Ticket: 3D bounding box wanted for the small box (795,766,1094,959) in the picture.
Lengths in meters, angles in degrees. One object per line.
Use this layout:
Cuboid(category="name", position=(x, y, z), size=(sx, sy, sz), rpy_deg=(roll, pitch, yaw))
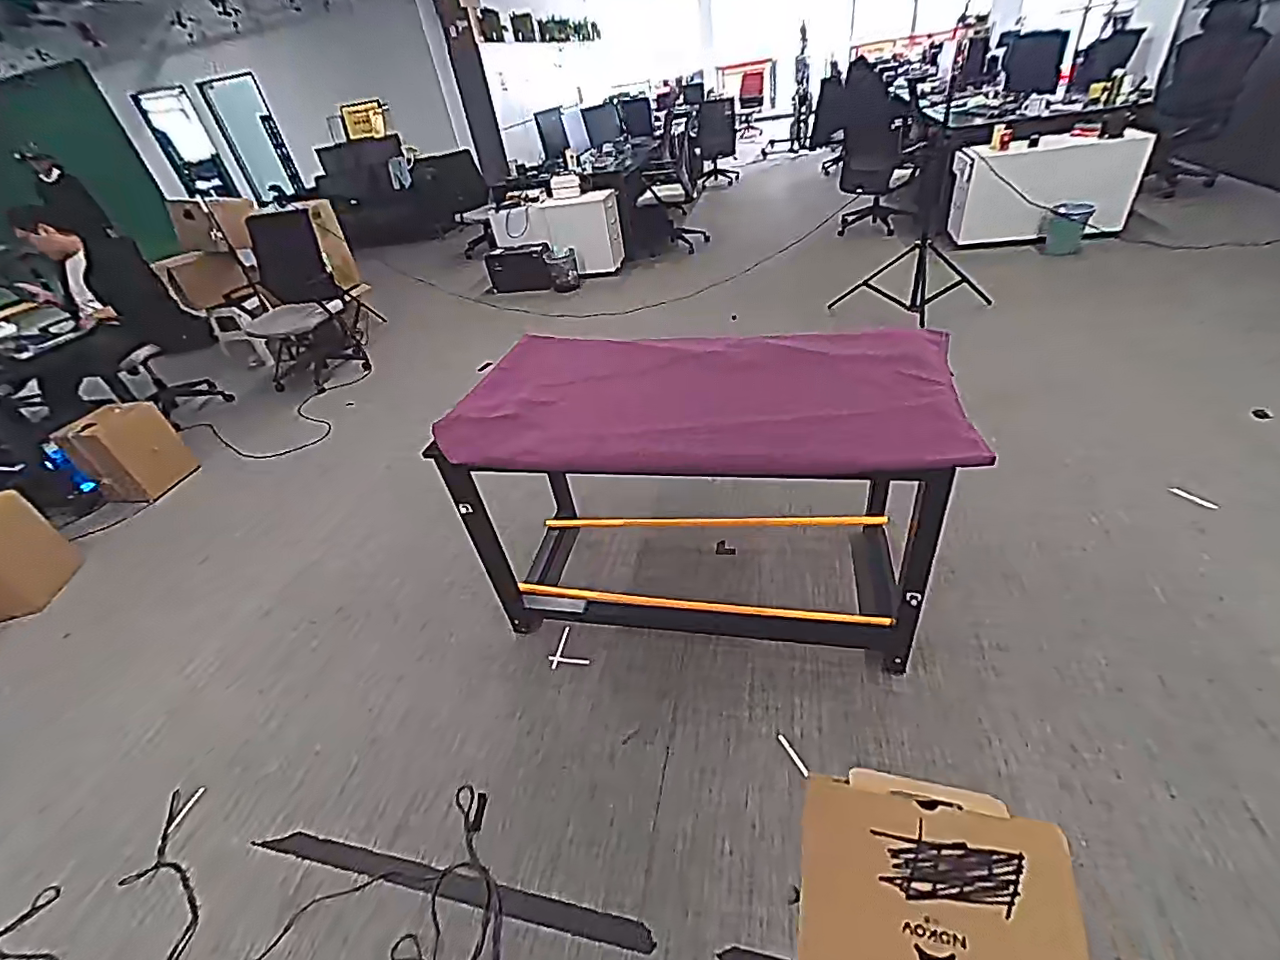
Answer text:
Cuboid(category="small box", position=(0.201, 0.338, 0.392), size=(0.168, 0.176, 0.179), rpy_deg=(3, 51, 19))
